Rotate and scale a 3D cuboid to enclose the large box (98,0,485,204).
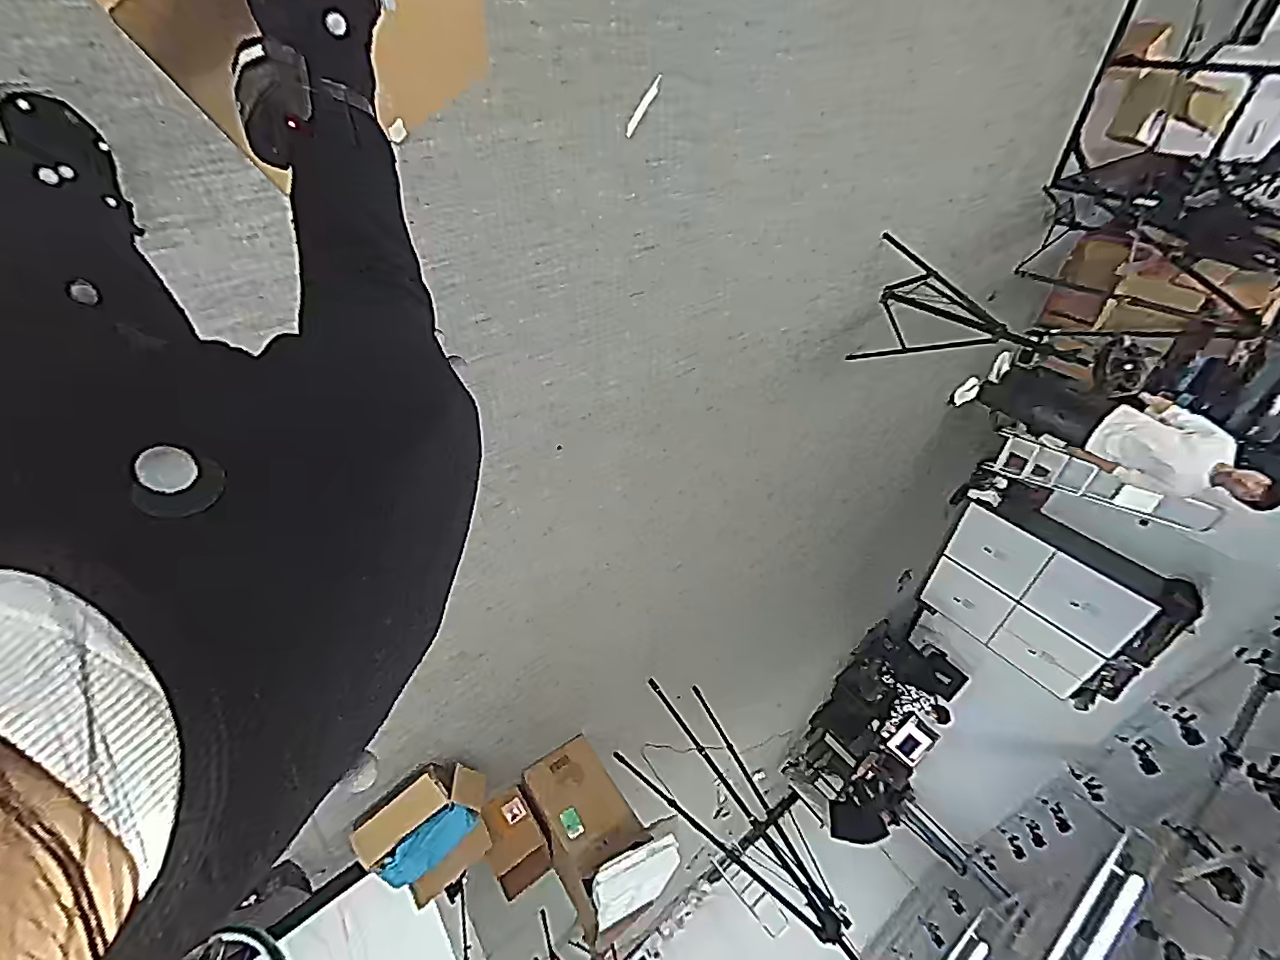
[{"bbox_3d":[-0.411,-0.577,0.513,0.320,0.320,0.408,-43,100,-4],"label":"large box"}]
